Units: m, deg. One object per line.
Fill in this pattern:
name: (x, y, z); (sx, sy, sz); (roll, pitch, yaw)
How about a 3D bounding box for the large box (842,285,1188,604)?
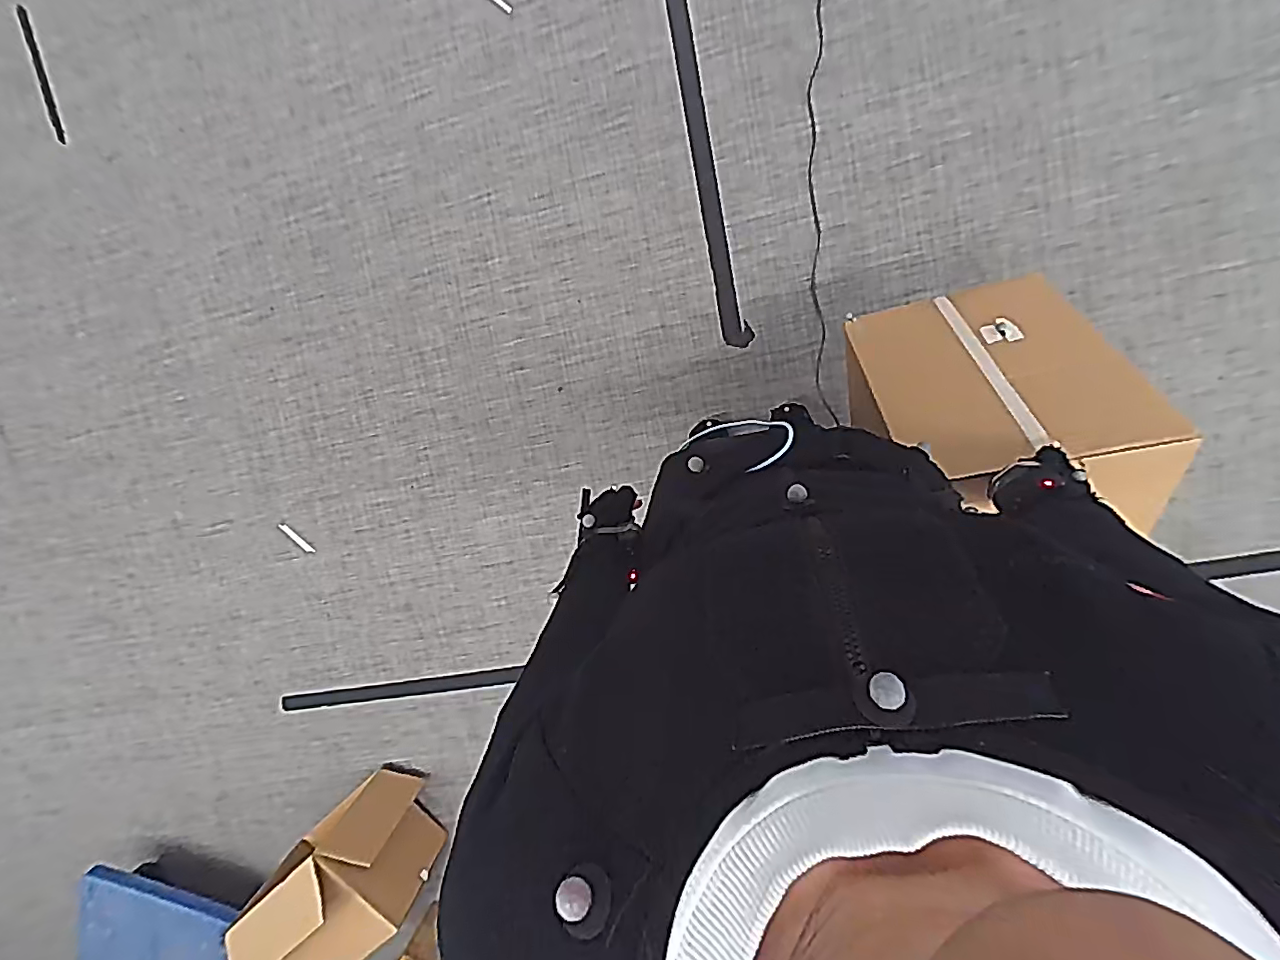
large box: (0.555, -0.059, 0.909); (0.320, 0.408, 0.320); (-11, 134, 13)
